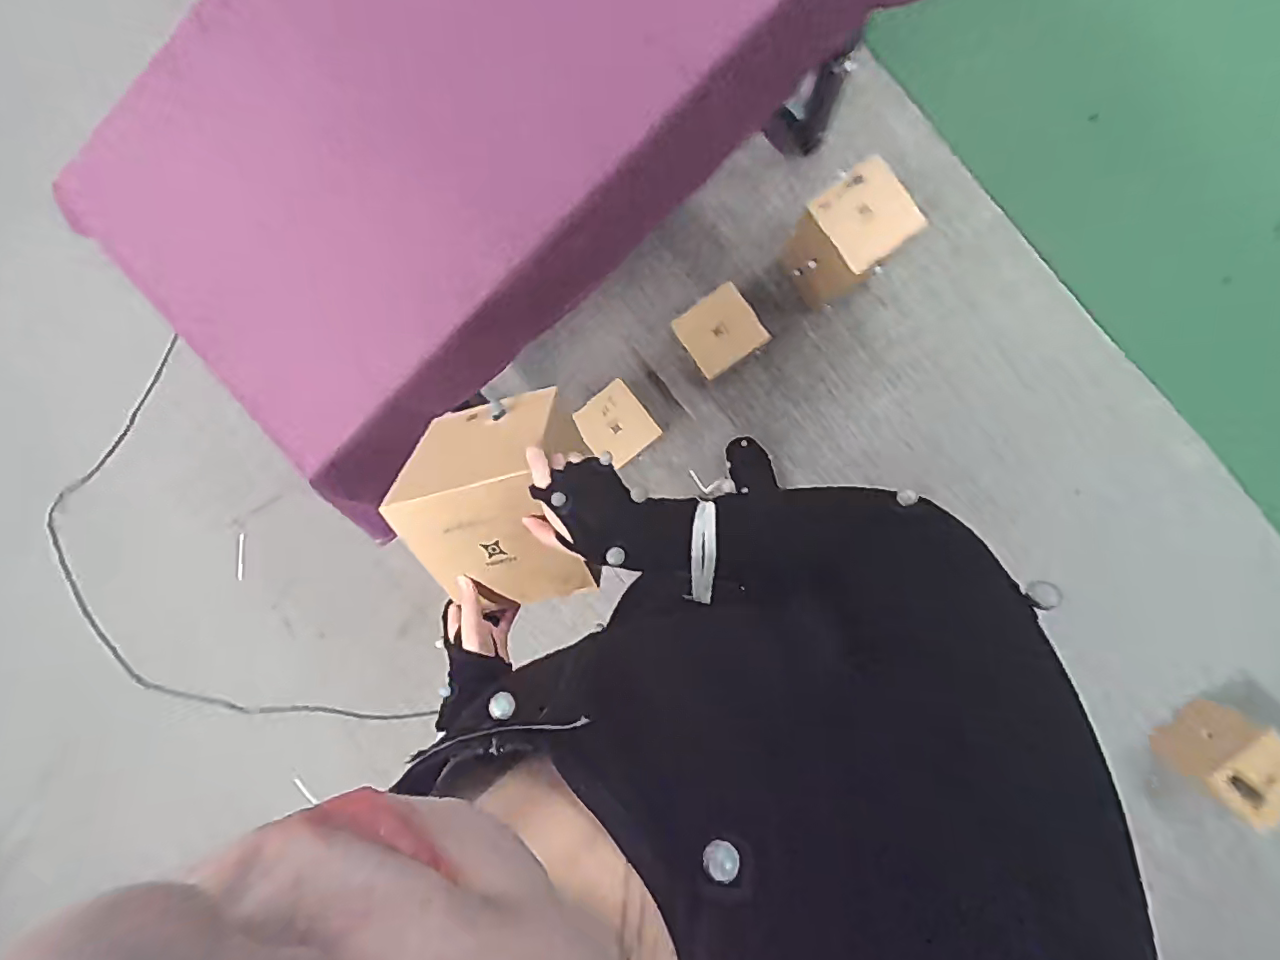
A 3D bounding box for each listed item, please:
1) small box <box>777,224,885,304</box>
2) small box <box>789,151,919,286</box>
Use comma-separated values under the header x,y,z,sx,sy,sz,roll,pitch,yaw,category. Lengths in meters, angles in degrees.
x,y,z,sx,sy,sz,roll,pitch,yaw,category
0.451,-0.546,1.301,0.168,0.176,0.179,-30,89,7,small box
0.439,-0.532,1.138,0.168,0.176,0.179,-34,90,7,small box
